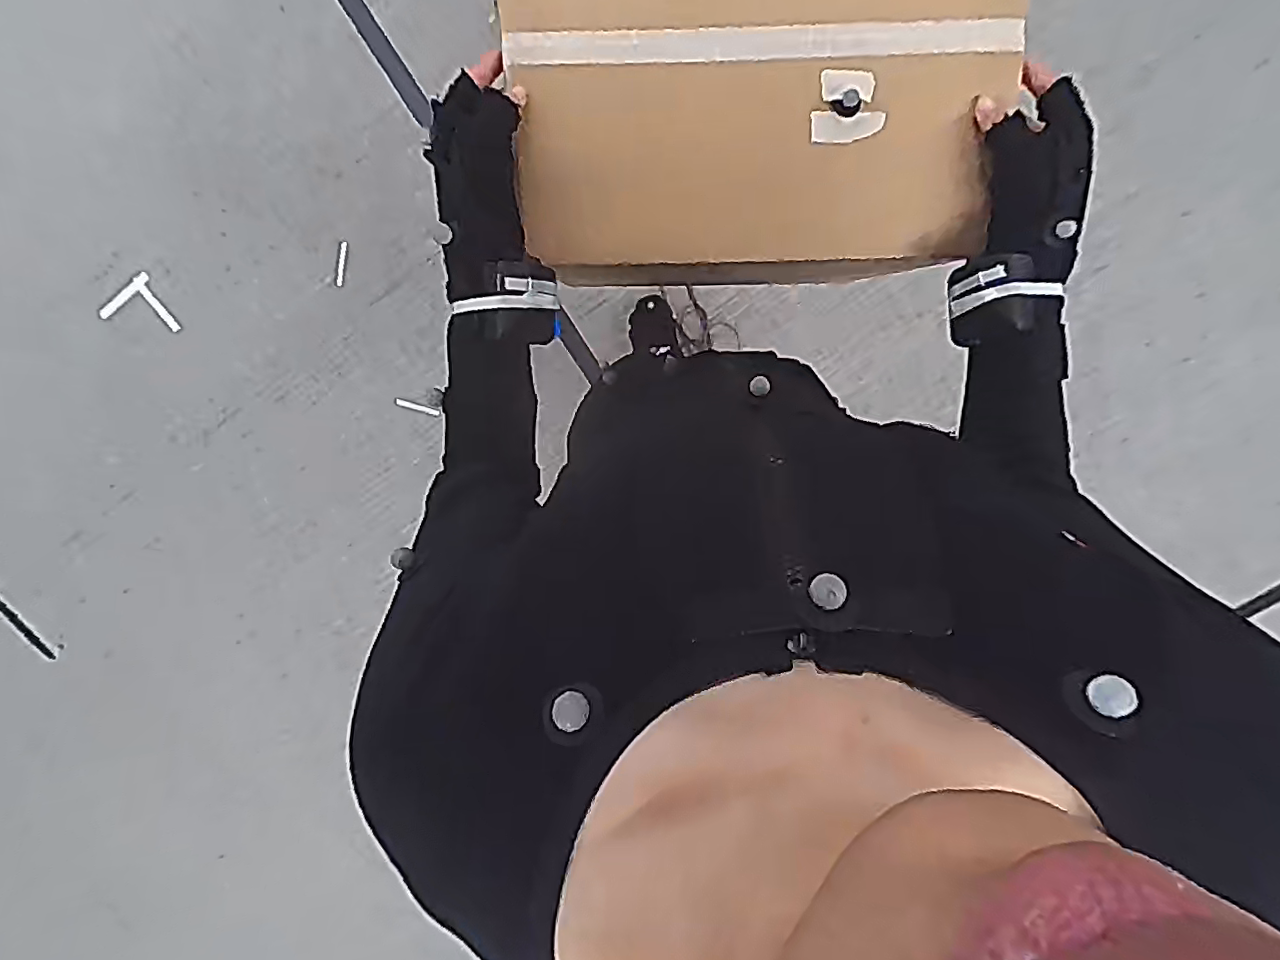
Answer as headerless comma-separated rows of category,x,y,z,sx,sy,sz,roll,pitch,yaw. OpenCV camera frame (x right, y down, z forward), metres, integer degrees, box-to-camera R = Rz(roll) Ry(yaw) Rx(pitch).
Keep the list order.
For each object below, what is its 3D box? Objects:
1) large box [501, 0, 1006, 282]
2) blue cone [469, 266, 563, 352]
large box,0.087,-0.393,0.574,0.408,0.320,0.320,-1,106,0
blue cone,-0.315,-0.409,1.239,0.193,0.380,0.192,-12,101,5
